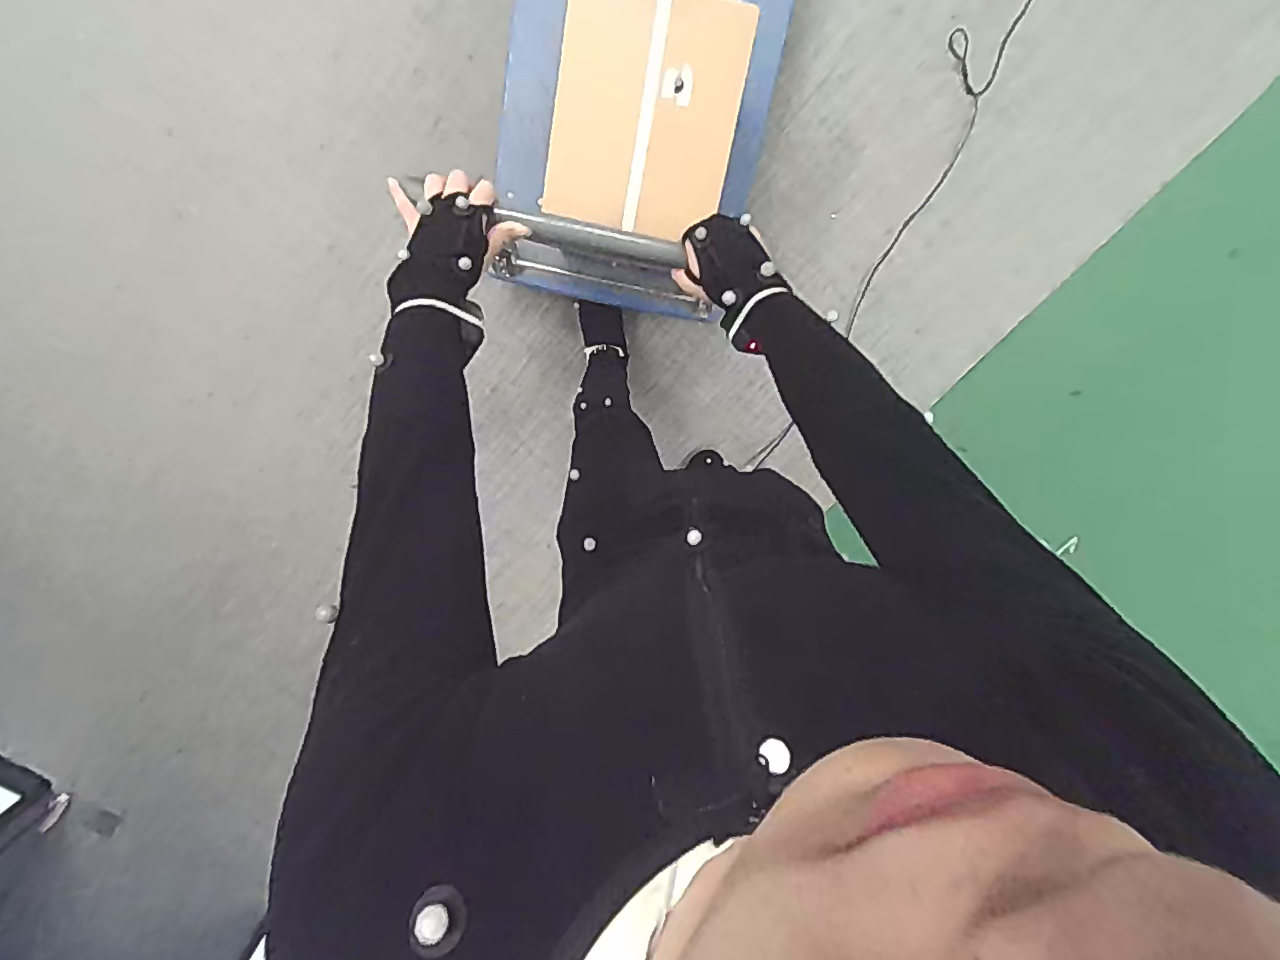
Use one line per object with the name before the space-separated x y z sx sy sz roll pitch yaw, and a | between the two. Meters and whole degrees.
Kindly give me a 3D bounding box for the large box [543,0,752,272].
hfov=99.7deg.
large box | 0.006 -0.668 1.092 0.320 0.320 0.408 10 106 -4
